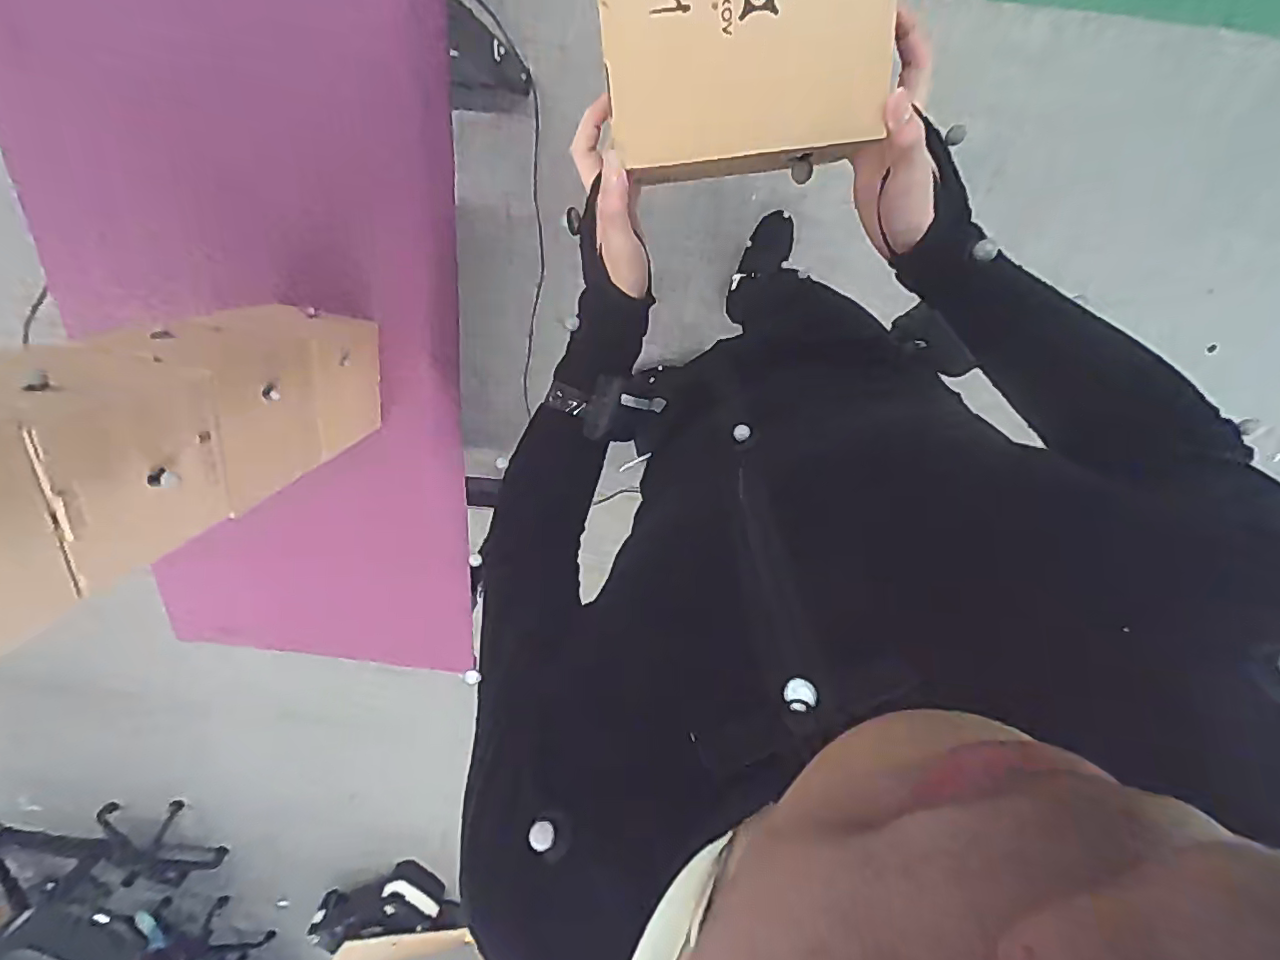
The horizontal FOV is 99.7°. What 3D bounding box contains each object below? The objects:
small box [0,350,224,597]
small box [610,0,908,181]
[{"bbox_3d":[-0.539,-0.018,0.513,0.179,0.176,0.168,11,114,0],"label":"small box"},{"bbox_3d":[0.077,-0.322,0.389,0.179,0.176,0.168,-2,114,10],"label":"small box"}]
